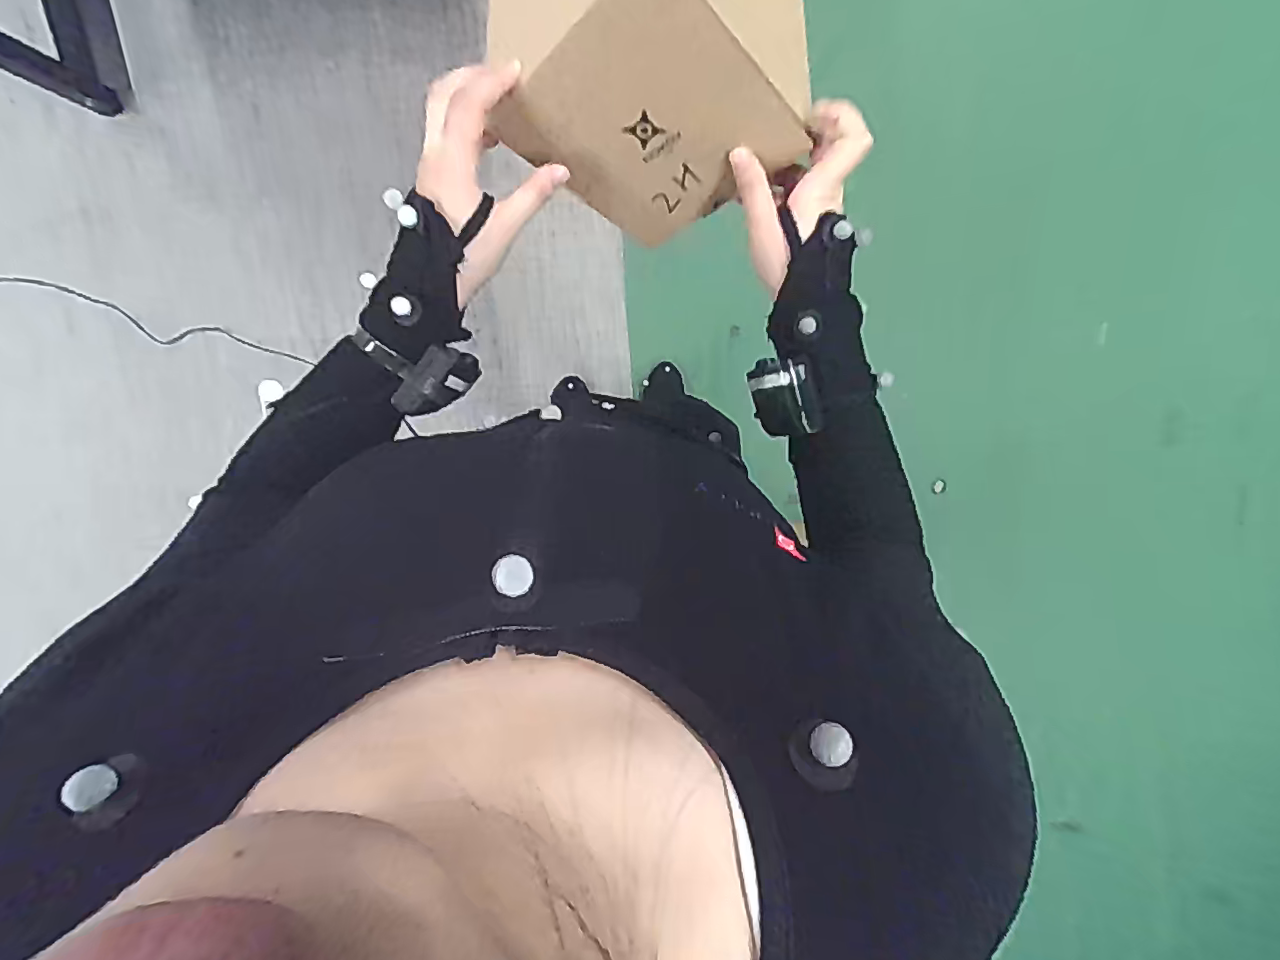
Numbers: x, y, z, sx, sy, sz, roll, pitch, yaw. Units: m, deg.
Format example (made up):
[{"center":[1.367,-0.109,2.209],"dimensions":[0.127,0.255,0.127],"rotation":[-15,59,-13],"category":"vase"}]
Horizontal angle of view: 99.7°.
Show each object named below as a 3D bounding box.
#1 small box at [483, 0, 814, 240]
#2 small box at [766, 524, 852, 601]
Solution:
[{"center":[0.007,-0.322,0.395],"dimensions":[0.179,0.168,0.176],"rotation":[11,74,-45],"category":"small box"},{"center":[0.451,0.222,1.473],"dimensions":[0.179,0.176,0.168],"rotation":[3,102,-2],"category":"small box"}]
